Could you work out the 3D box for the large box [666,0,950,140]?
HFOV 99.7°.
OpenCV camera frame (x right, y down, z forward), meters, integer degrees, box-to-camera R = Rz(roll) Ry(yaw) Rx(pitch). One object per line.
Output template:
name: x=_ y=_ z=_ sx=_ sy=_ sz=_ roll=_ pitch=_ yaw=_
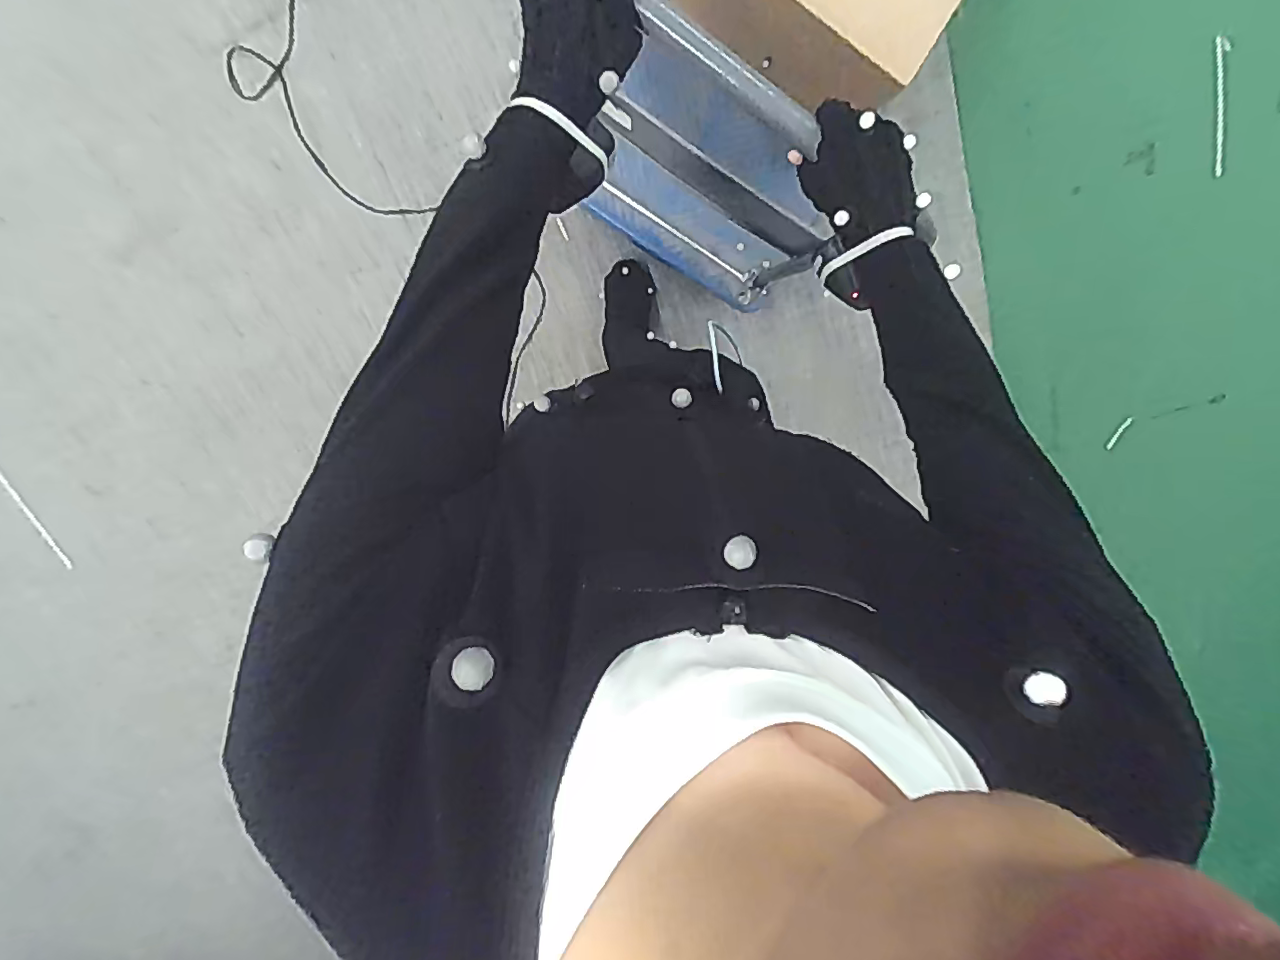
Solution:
large box: x=0.302 y=-0.878 z=0.922 sx=0.408 sy=0.320 sz=0.320 roll=28 pitch=102 yaw=-12
